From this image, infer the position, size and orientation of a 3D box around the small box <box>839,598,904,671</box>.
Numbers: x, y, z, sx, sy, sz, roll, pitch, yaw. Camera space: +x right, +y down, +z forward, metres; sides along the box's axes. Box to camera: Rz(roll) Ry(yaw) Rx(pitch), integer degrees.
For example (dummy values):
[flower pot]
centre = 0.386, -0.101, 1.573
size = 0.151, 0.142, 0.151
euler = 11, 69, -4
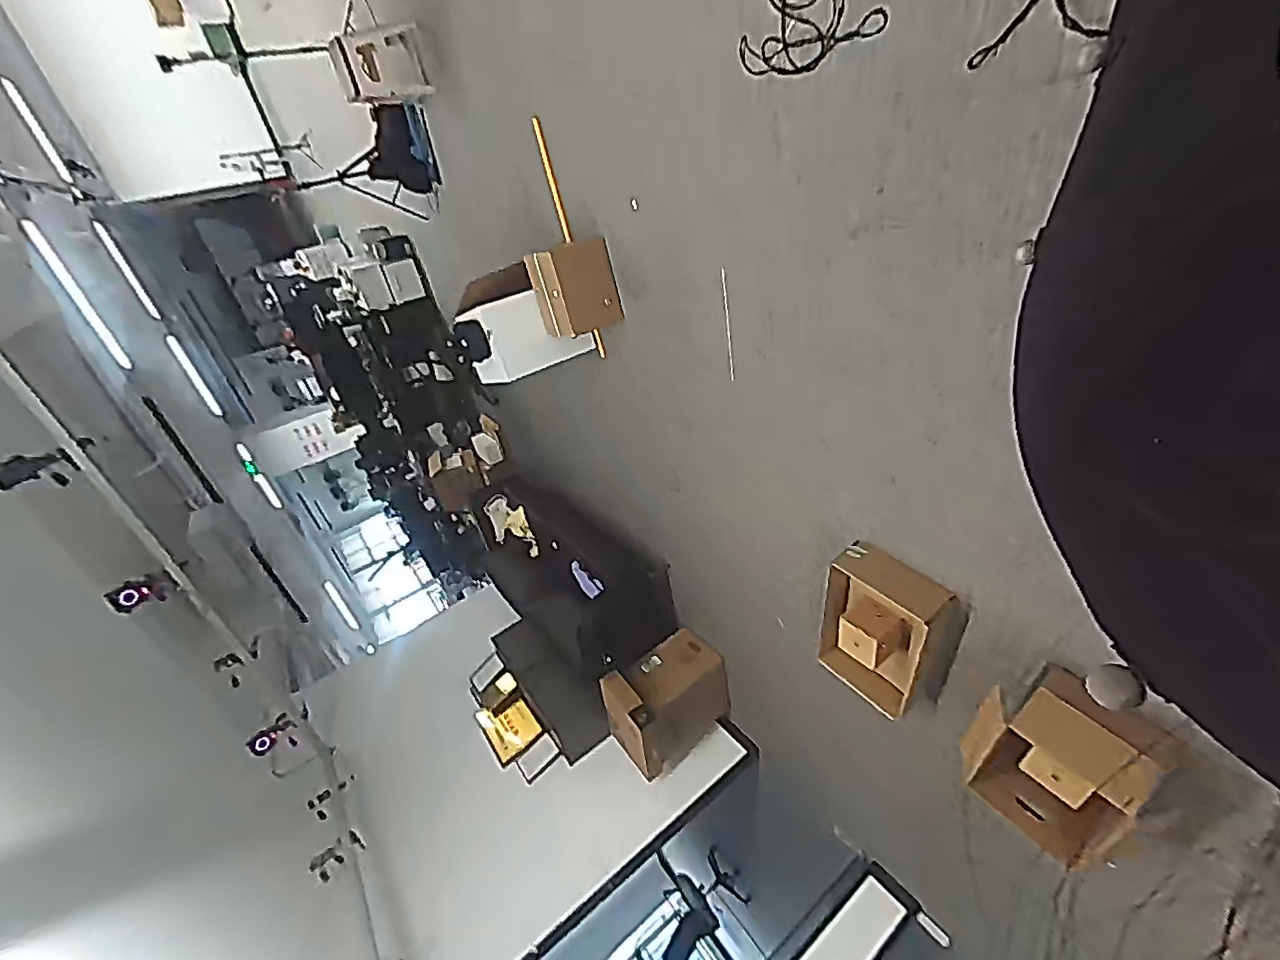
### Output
[small box]
centre = 0.899, 0.596, 2.099
size = 0.168, 0.176, 0.179
euler = 32, 141, 48
